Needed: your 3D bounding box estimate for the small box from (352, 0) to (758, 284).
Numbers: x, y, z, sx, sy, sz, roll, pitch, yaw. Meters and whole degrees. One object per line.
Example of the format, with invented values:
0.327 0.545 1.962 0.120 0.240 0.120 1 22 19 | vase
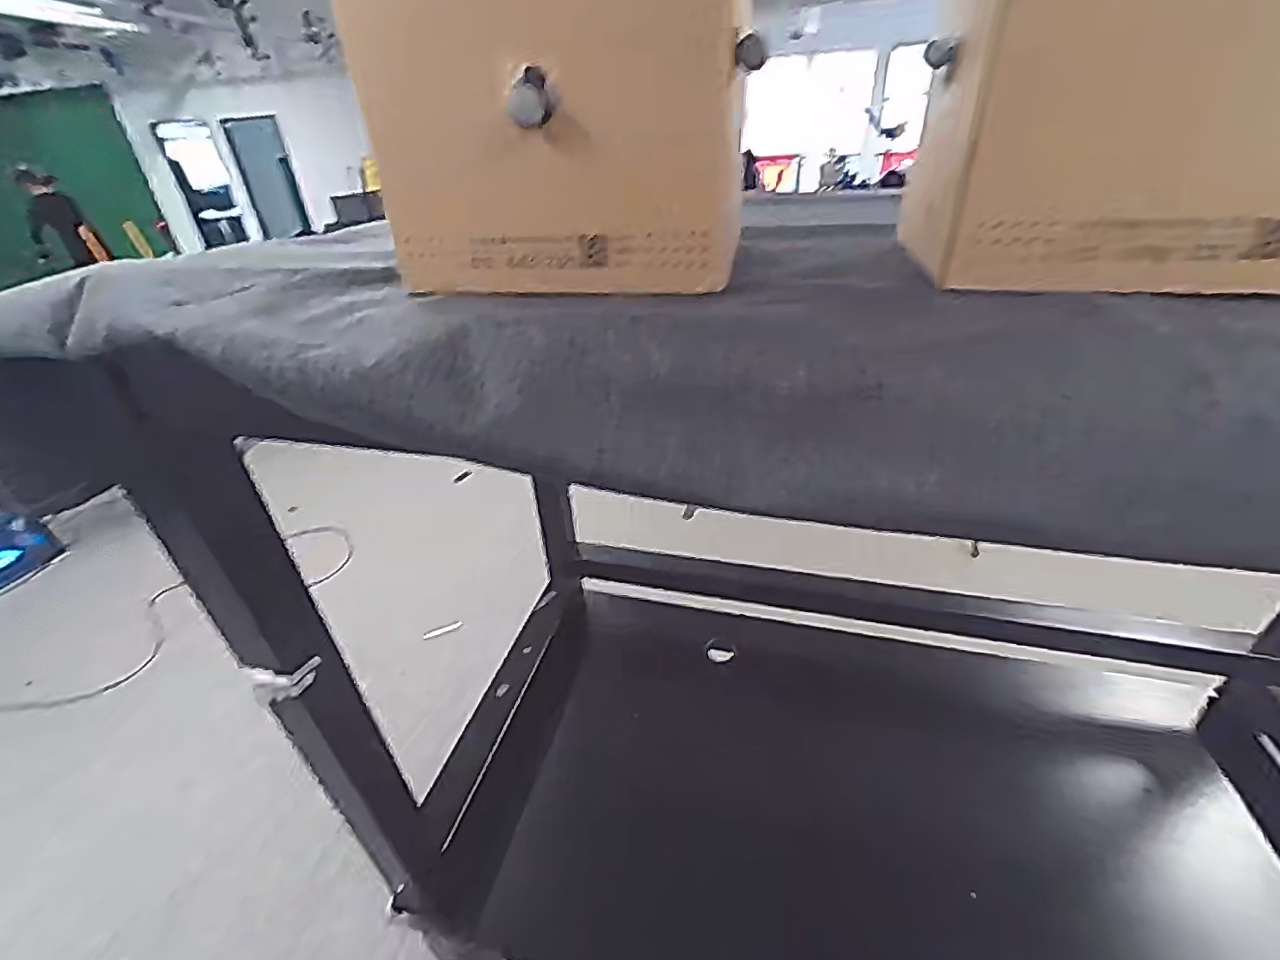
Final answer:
-0.023 -0.207 0.291 0.168 0.176 0.179 4 32 10 | small box
